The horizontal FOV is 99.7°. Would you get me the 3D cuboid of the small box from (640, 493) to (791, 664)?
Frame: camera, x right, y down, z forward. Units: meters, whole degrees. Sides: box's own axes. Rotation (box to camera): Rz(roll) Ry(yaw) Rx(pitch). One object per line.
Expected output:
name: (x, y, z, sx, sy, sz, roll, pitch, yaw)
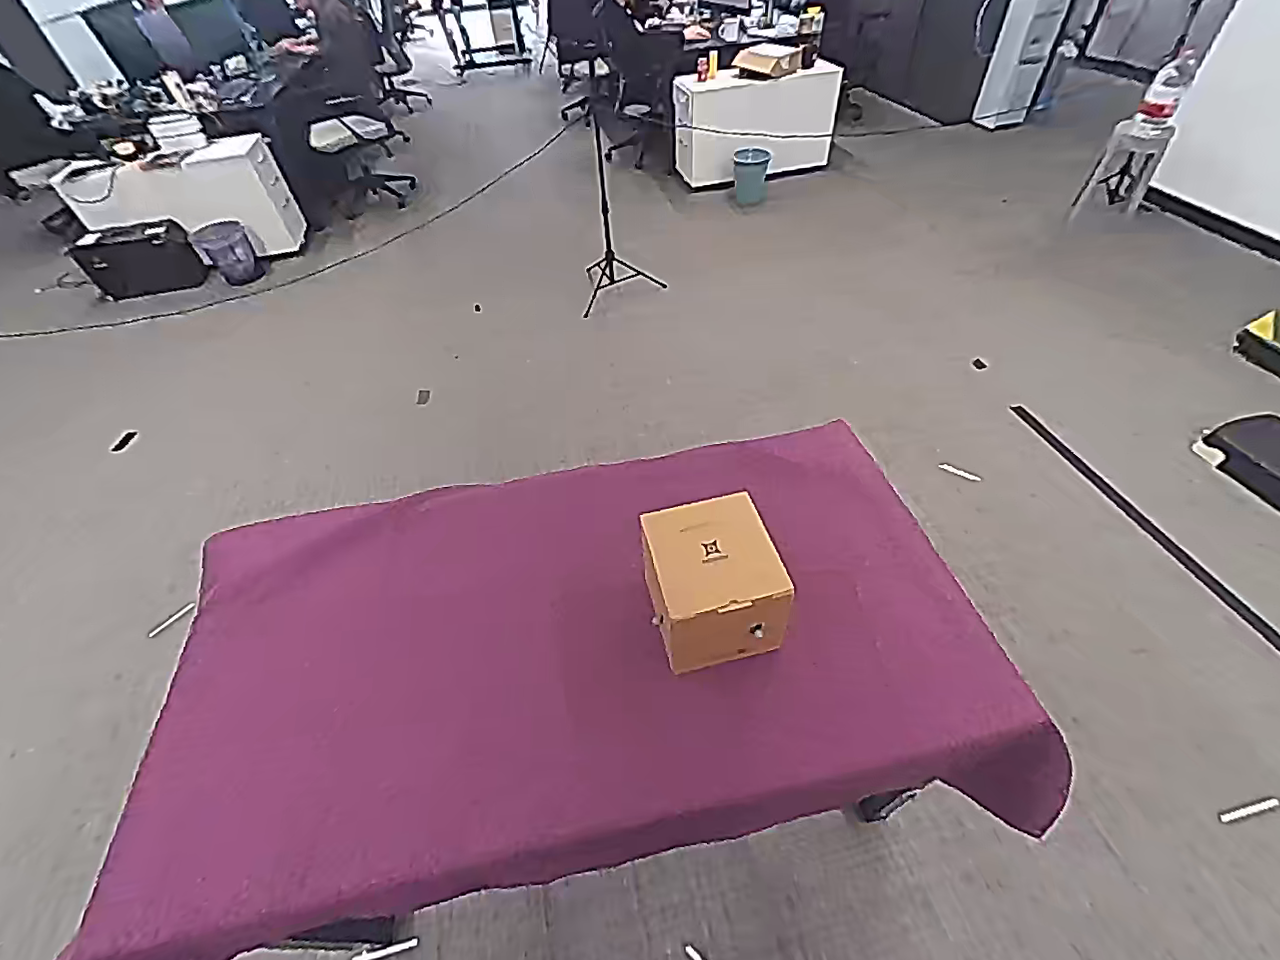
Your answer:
small box: (0.102, 0.150, 0.788, 0.168, 0.176, 0.179, -12, 48, -6)
